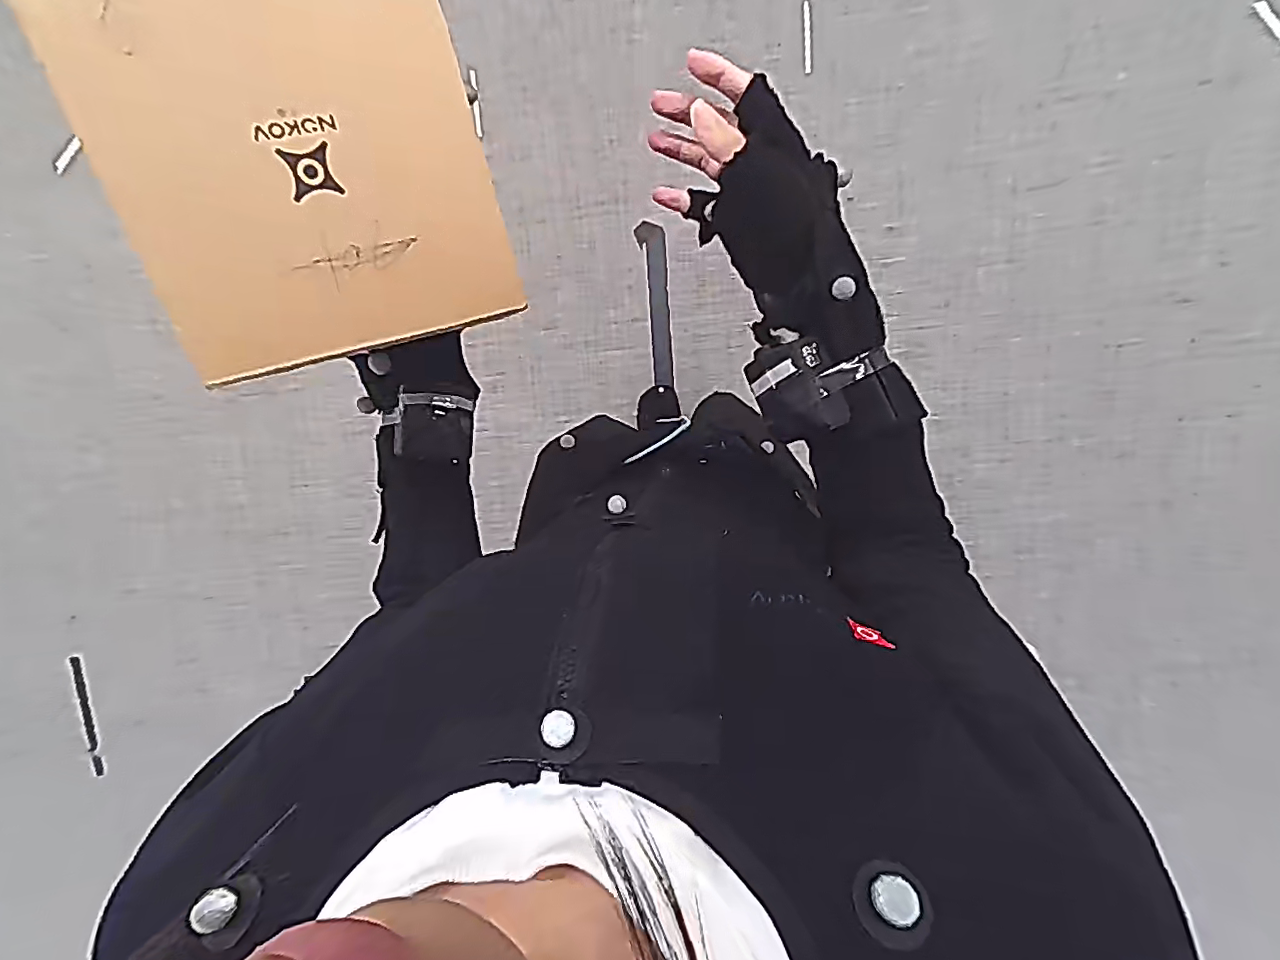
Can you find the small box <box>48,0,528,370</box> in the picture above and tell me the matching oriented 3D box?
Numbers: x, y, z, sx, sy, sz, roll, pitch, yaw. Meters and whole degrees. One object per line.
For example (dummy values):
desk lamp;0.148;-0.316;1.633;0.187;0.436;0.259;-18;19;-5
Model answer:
small box;-0.184;-0.177;0.343;0.168;0.176;0.179;-19;109;-13
